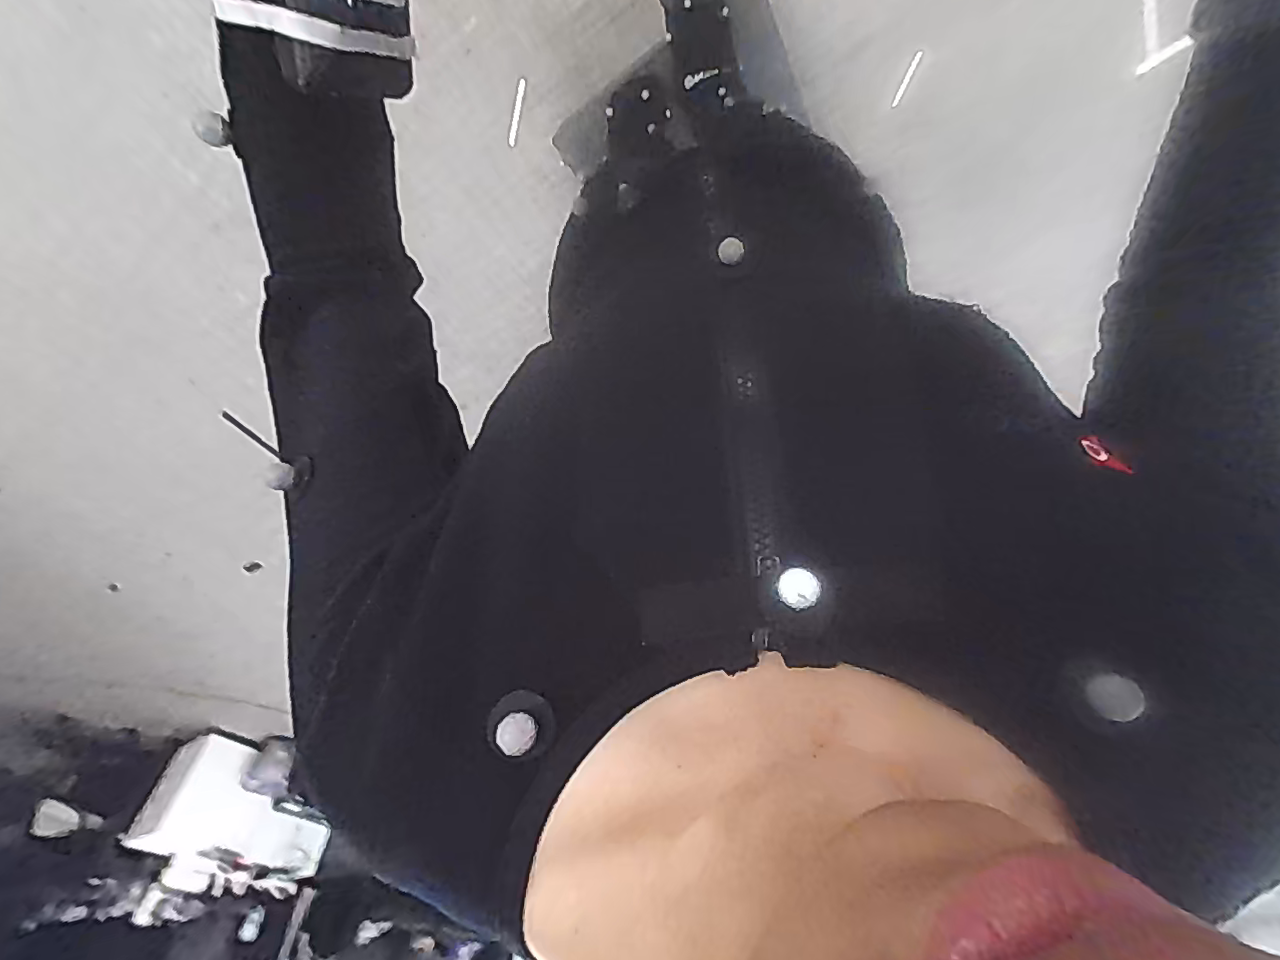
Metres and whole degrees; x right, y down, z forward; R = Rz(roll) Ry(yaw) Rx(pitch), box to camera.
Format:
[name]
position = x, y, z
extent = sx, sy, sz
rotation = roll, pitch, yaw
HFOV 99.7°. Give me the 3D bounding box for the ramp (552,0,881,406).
[ramp]
position = 0.275, -0.597, 1.415
extent = 0.509, 0.206, 0.991
rotation = -28, 126, 22
